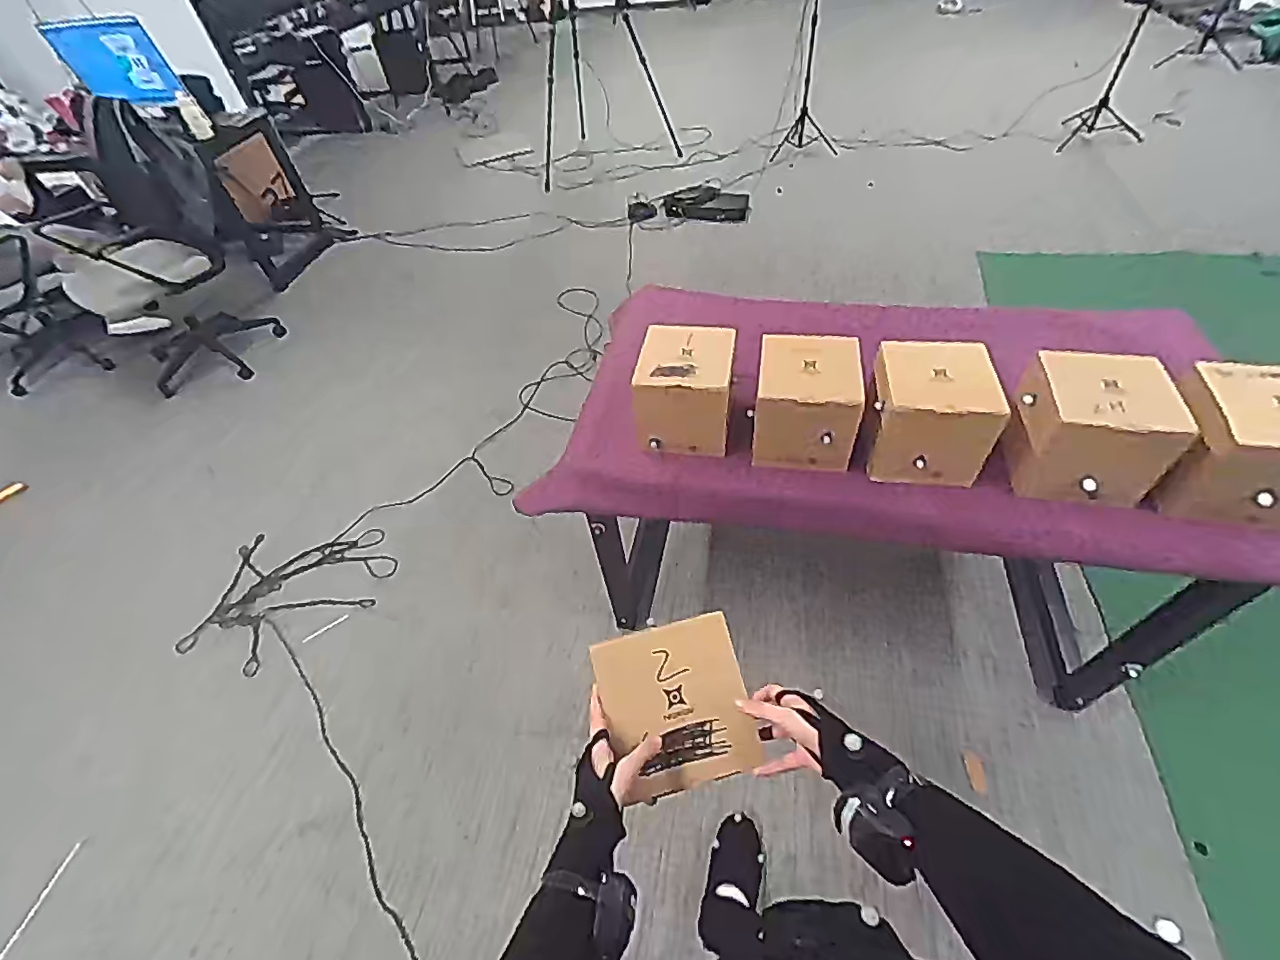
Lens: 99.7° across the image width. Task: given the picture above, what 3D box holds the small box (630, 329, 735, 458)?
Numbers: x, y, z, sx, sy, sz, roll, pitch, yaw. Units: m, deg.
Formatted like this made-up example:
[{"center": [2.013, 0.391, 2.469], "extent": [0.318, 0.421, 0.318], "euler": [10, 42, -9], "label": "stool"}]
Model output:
[{"center": [0.087, -0.160, 1.009], "extent": [0.168, 0.176, 0.179], "euler": [5, 50, 12], "label": "small box"}]
